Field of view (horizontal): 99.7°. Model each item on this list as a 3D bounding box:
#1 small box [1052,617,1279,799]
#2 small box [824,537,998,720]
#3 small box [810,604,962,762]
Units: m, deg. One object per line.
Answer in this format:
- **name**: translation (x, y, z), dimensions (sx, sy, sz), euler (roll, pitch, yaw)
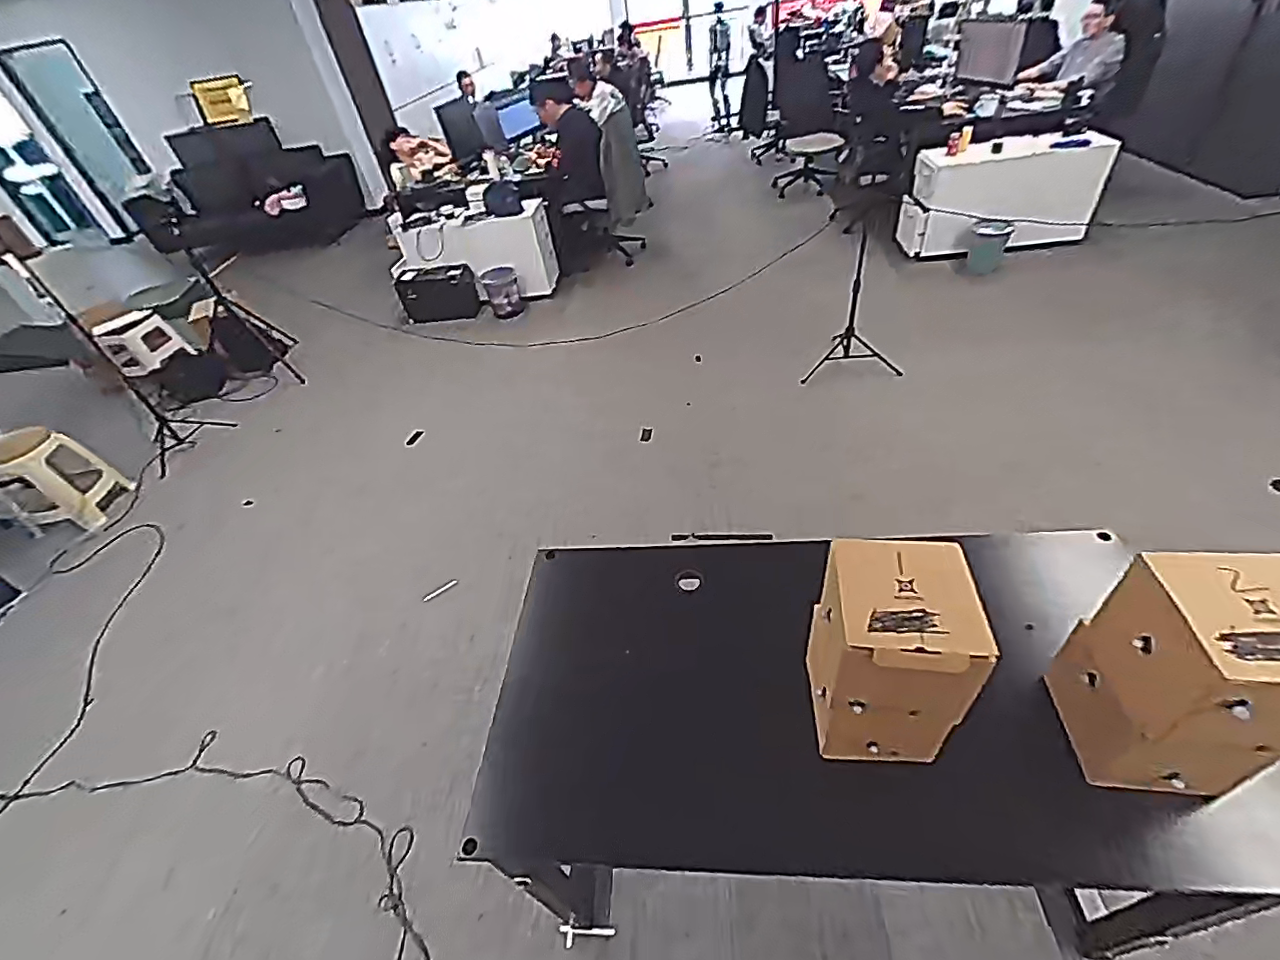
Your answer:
- **small box**: translation (0.726, 0.318, 0.762), dimensions (0.168, 0.176, 0.179), euler (0, 43, 12)
- **small box**: translation (0.345, 0.199, 0.727), dimensions (0.168, 0.176, 0.179), euler (2, 43, 12)
- **small box**: translation (0.366, 0.313, 0.844), dimensions (0.168, 0.176, 0.179), euler (-3, 43, 9)
